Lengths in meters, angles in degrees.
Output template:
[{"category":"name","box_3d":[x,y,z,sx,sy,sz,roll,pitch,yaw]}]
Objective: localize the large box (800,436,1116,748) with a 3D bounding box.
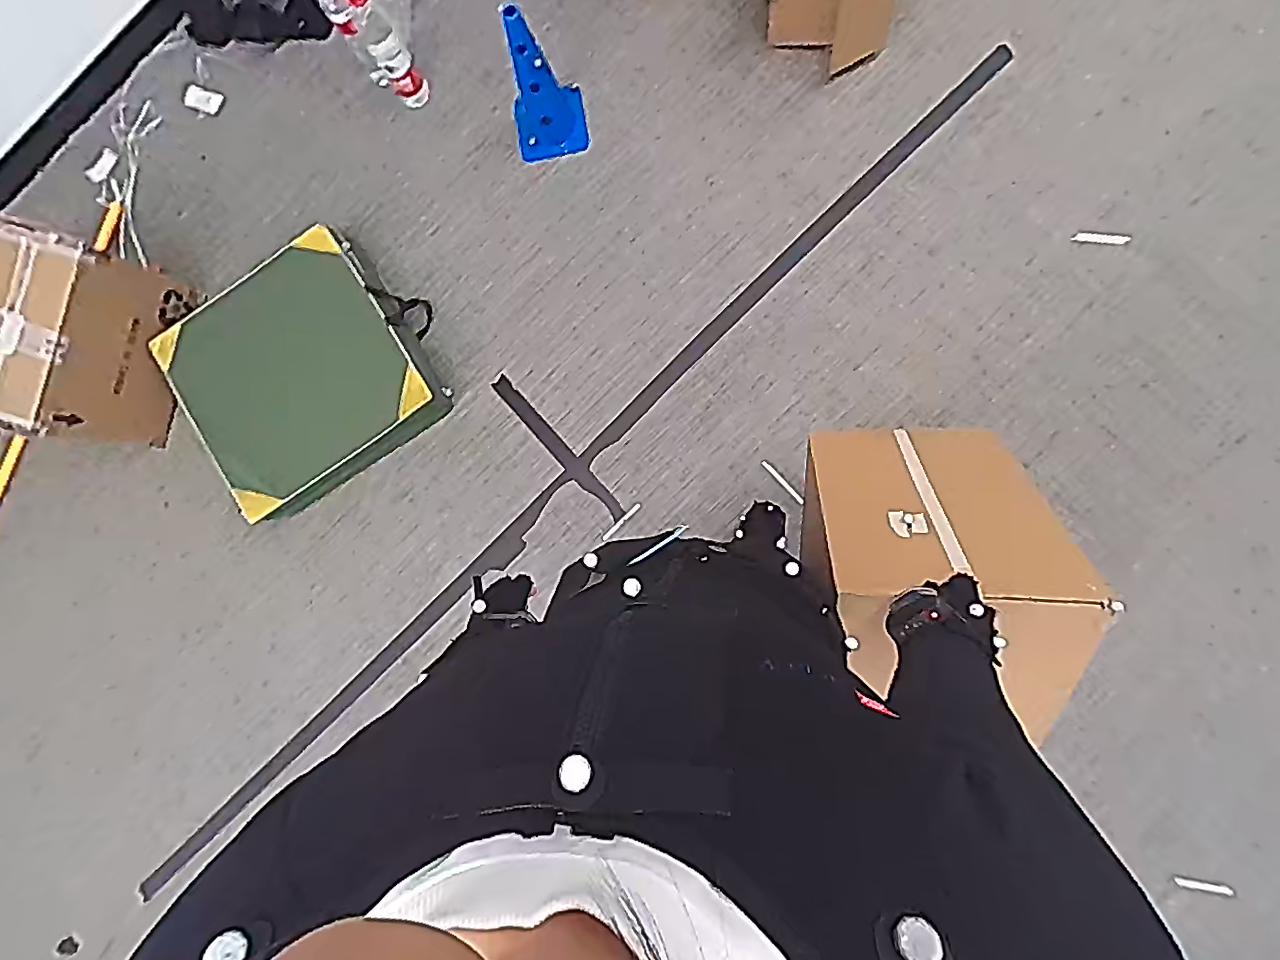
[{"category":"large box","box_3d":[0.452,0.161,0.901,0.320,0.408,0.320,0,126,12]}]
